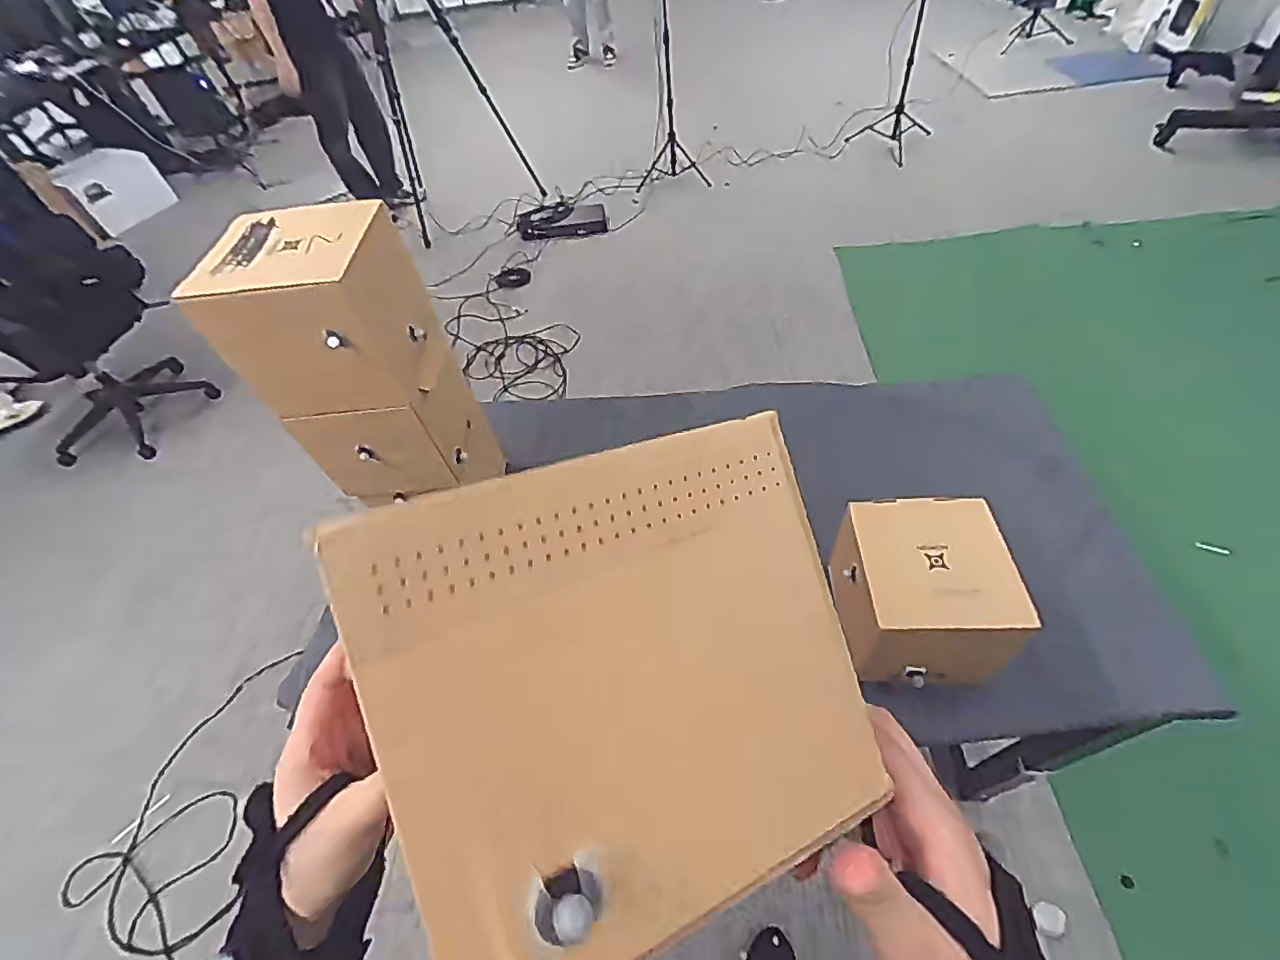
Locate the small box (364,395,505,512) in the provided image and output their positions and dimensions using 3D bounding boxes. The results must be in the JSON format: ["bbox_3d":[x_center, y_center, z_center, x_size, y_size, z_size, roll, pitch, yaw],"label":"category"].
[{"bbox_3d":[-0.334,-0.018,0.907,0.168,0.176,0.179,-6,52,3],"label":"small box"}]

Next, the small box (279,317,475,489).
[{"bbox_3d":[-0.351,-0.104,0.766,0.179,0.176,0.168,-6,53,4],"label":"small box"}]

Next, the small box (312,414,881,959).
[{"bbox_3d":[-0.026,0.075,0.264,0.179,0.168,0.176,-17,91,-21],"label":"small box"}]

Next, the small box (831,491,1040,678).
[{"bbox_3d":[0.350,0.134,0.686,0.168,0.176,0.179,-3,51,7],"label":"small box"}]
